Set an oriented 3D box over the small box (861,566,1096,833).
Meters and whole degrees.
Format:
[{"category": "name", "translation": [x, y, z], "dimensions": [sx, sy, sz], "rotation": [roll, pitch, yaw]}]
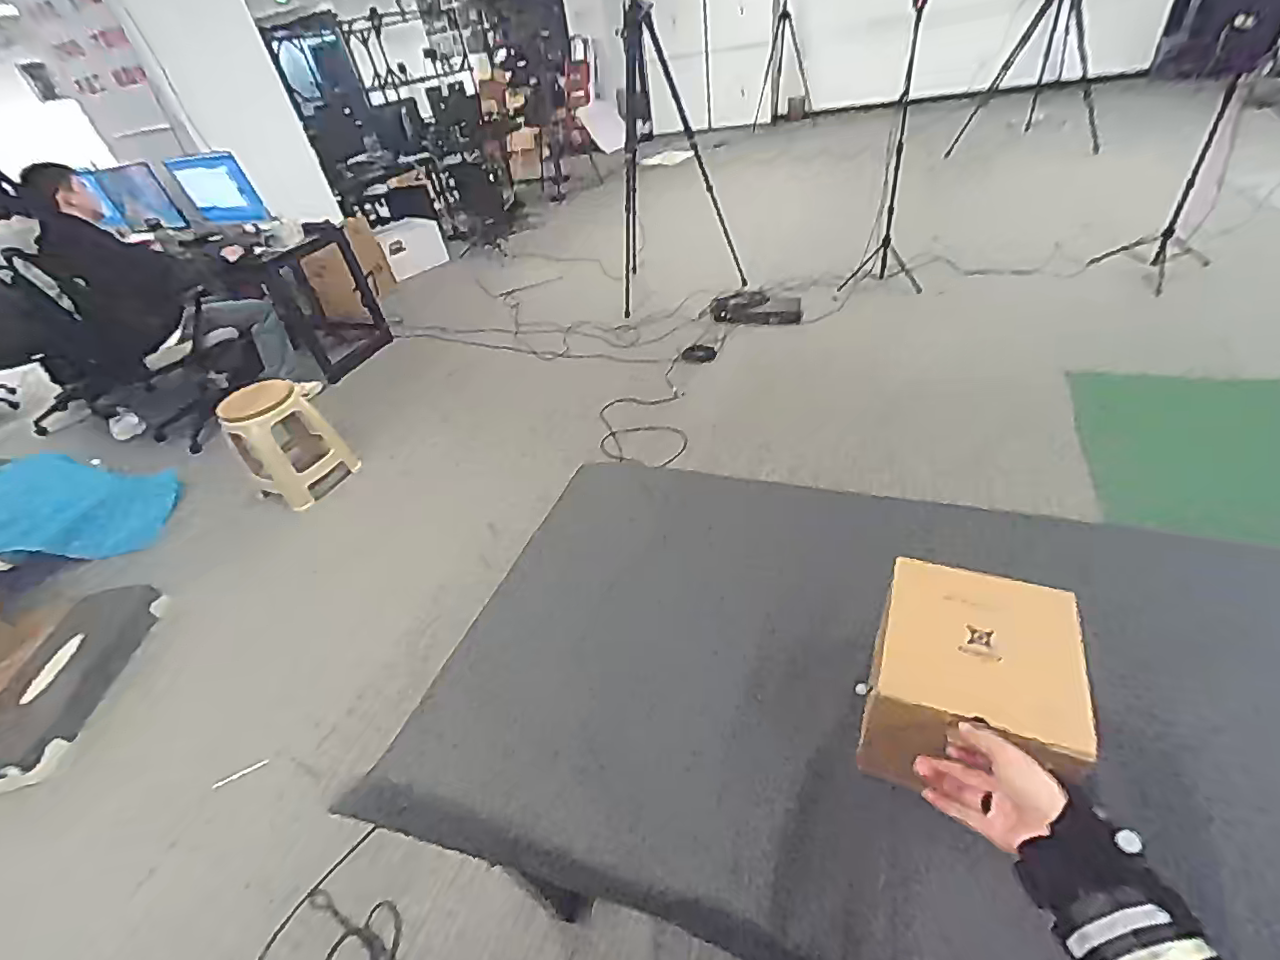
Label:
[{"category": "small box", "translation": [0.335, 0.225, 0.564], "dimensions": [0.168, 0.176, 0.179], "rotation": [11, 42, 23]}]
